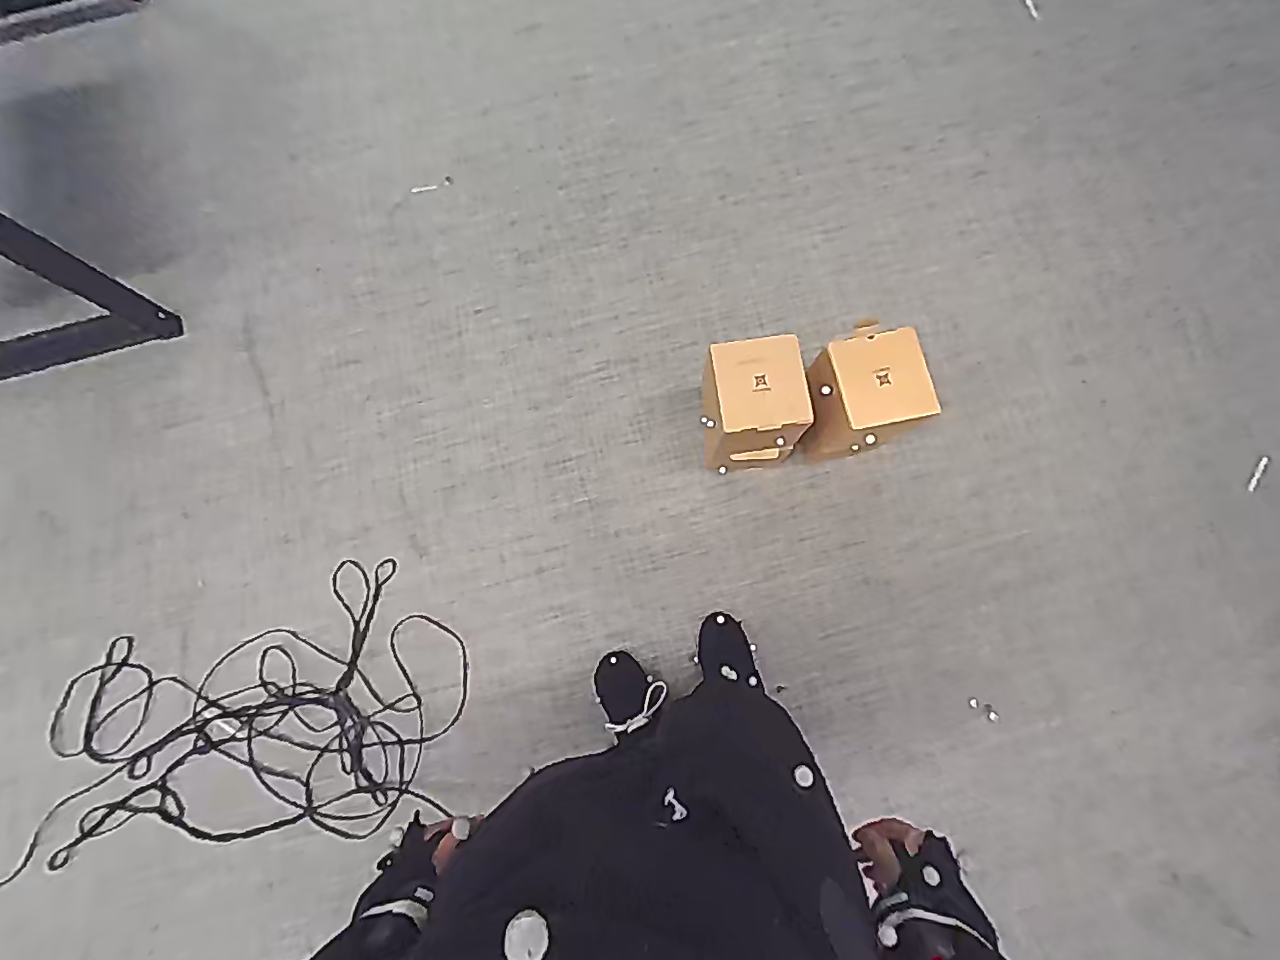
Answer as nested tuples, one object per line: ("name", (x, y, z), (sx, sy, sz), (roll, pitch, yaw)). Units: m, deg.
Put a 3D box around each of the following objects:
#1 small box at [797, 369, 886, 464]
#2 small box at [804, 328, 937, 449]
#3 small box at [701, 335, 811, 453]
("small box", (0.451, -0.151, 1.221), (0.168, 0.176, 0.179), (-11, 77, -2))
("small box", (0.439, -0.168, 1.058), (0.168, 0.176, 0.179), (-12, 78, -1))
("small box", (0.218, -0.158, 1.061), (0.168, 0.176, 0.179), (-8, 77, -2))
